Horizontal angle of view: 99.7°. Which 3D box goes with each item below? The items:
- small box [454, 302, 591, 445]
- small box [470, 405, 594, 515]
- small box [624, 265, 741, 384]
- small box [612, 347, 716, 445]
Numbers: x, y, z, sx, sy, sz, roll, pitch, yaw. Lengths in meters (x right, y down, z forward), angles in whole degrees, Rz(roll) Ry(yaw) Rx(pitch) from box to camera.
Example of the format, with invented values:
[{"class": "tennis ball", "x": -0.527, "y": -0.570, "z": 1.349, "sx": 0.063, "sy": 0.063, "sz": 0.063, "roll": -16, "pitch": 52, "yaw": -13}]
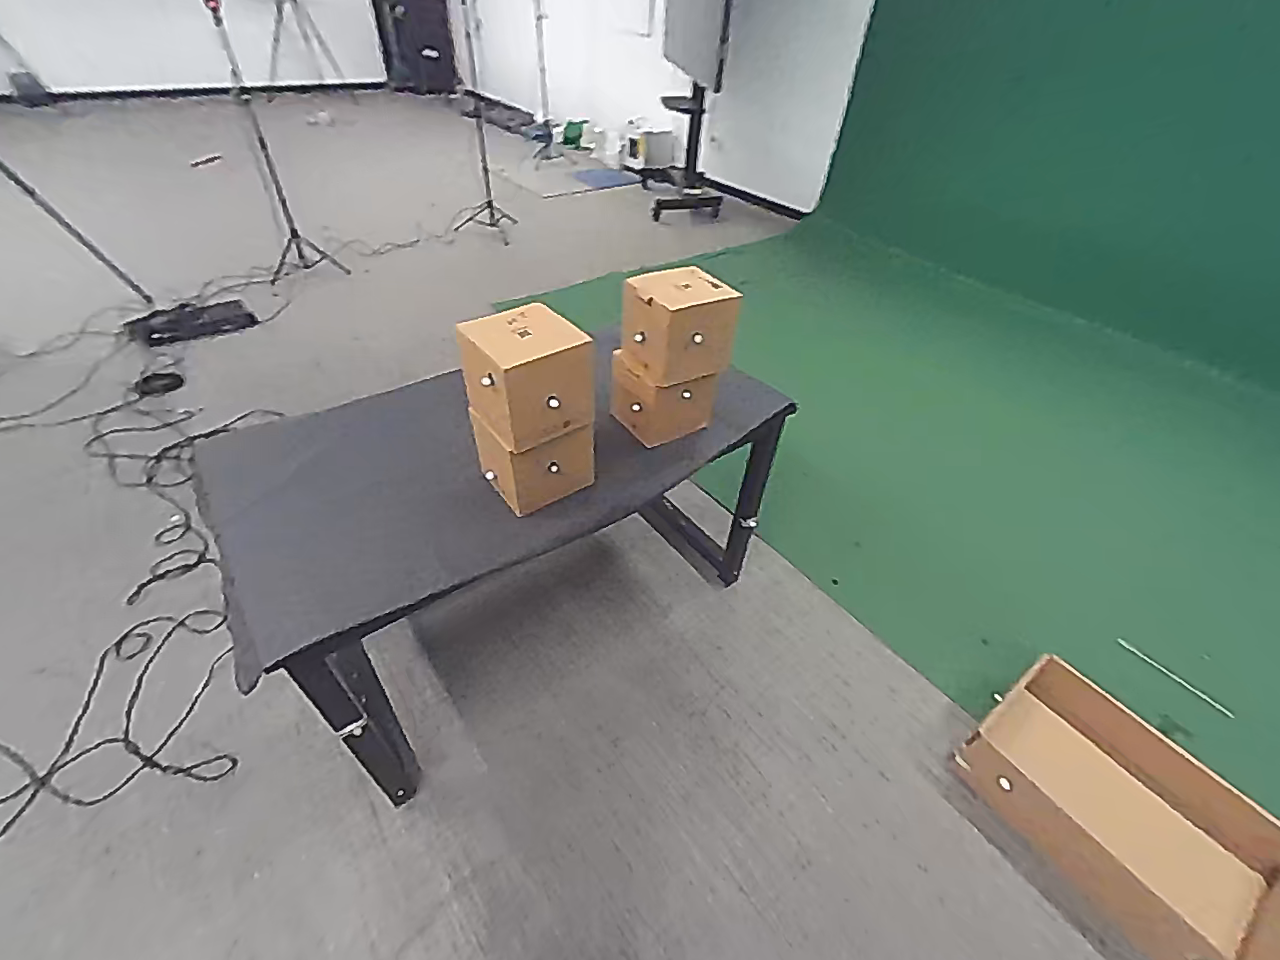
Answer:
[{"class": "small box", "x": -0.195, "y": -0.180, "z": 0.934, "sx": 0.168, "sy": 0.176, "sz": 0.179, "roll": -26, "pitch": 50, "yaw": -29}, {"class": "small box", "x": -0.206, "y": -0.064, "z": 1.050, "sx": 0.179, "sy": 0.176, "sz": 0.168, "roll": -26, "pitch": 50, "yaw": -27}, {"class": "small box", "x": 0.080, "y": -0.318, "z": 1.111, "sx": 0.179, "sy": 0.176, "sz": 0.168, "roll": -21, "pitch": 48, "yaw": -24}, {"class": "small box", "x": 0.051, "y": -0.202, "z": 1.226, "sx": 0.179, "sy": 0.176, "sz": 0.168, "roll": -22, "pitch": 49, "yaw": -27}]
